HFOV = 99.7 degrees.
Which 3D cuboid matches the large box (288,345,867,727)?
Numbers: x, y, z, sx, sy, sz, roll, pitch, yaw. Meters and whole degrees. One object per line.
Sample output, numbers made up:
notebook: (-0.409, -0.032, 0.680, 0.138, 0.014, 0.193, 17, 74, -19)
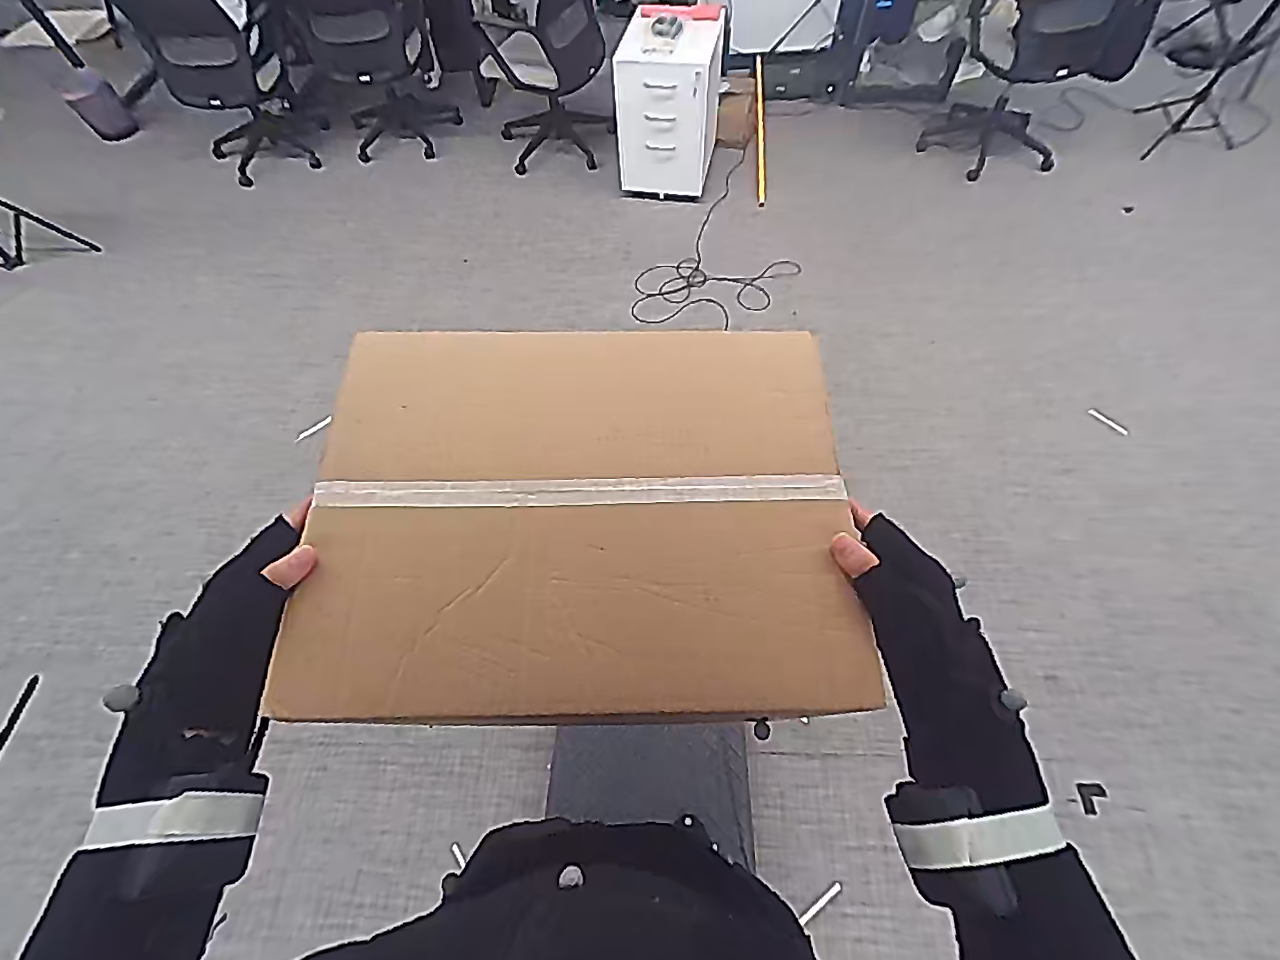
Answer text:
large box: (-0.044, 0.081, 0.563, 0.408, 0.320, 0.320, -1, 64, -1)
